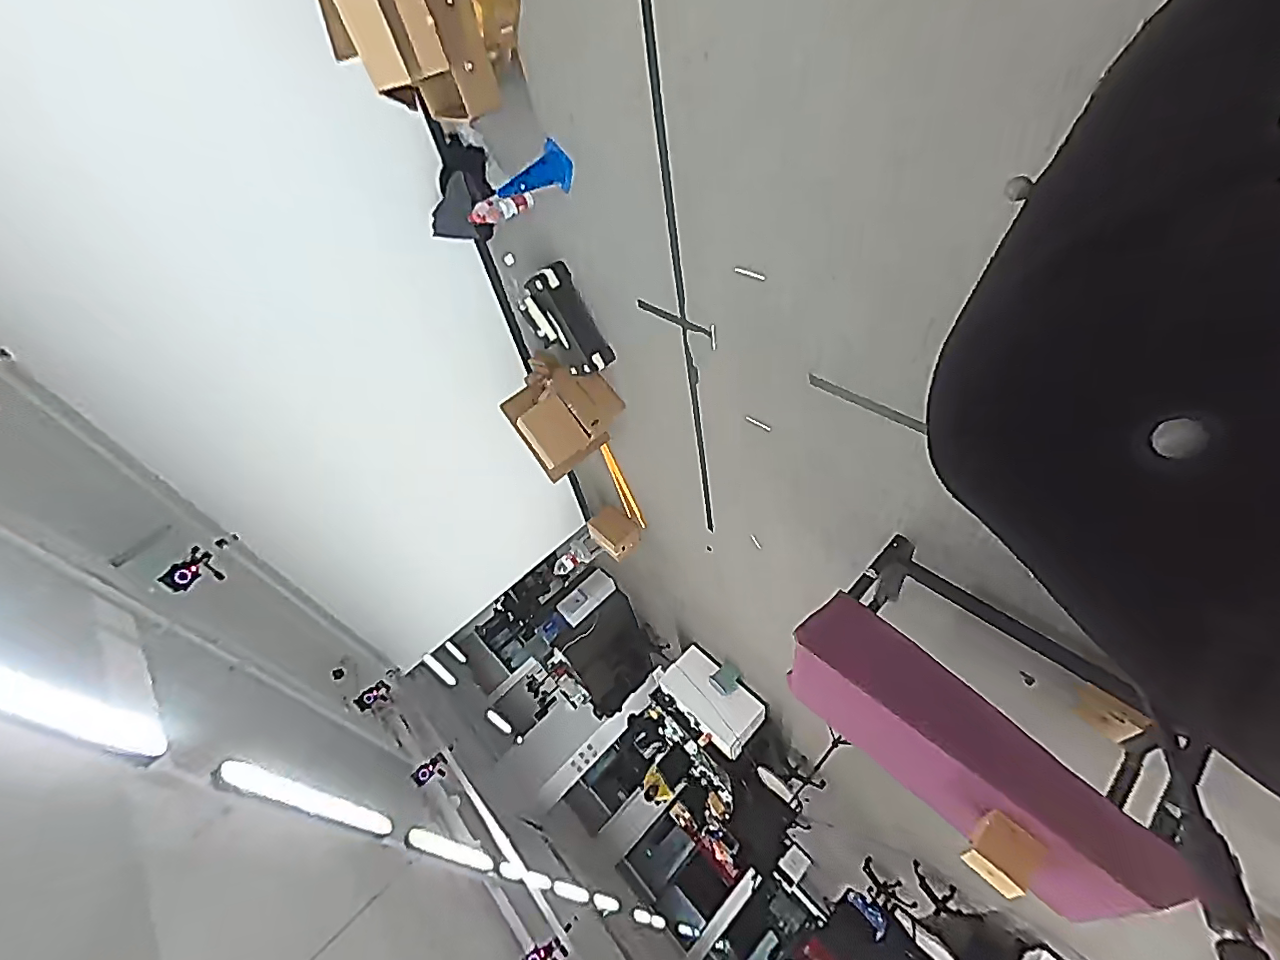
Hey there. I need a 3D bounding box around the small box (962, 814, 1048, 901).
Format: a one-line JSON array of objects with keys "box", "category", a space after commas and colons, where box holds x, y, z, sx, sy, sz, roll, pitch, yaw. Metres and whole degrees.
[{"box": [1.235, 1.273, 1.829, 0.168, 0.176, 0.179, 34, 153, 34], "category": "small box"}]
